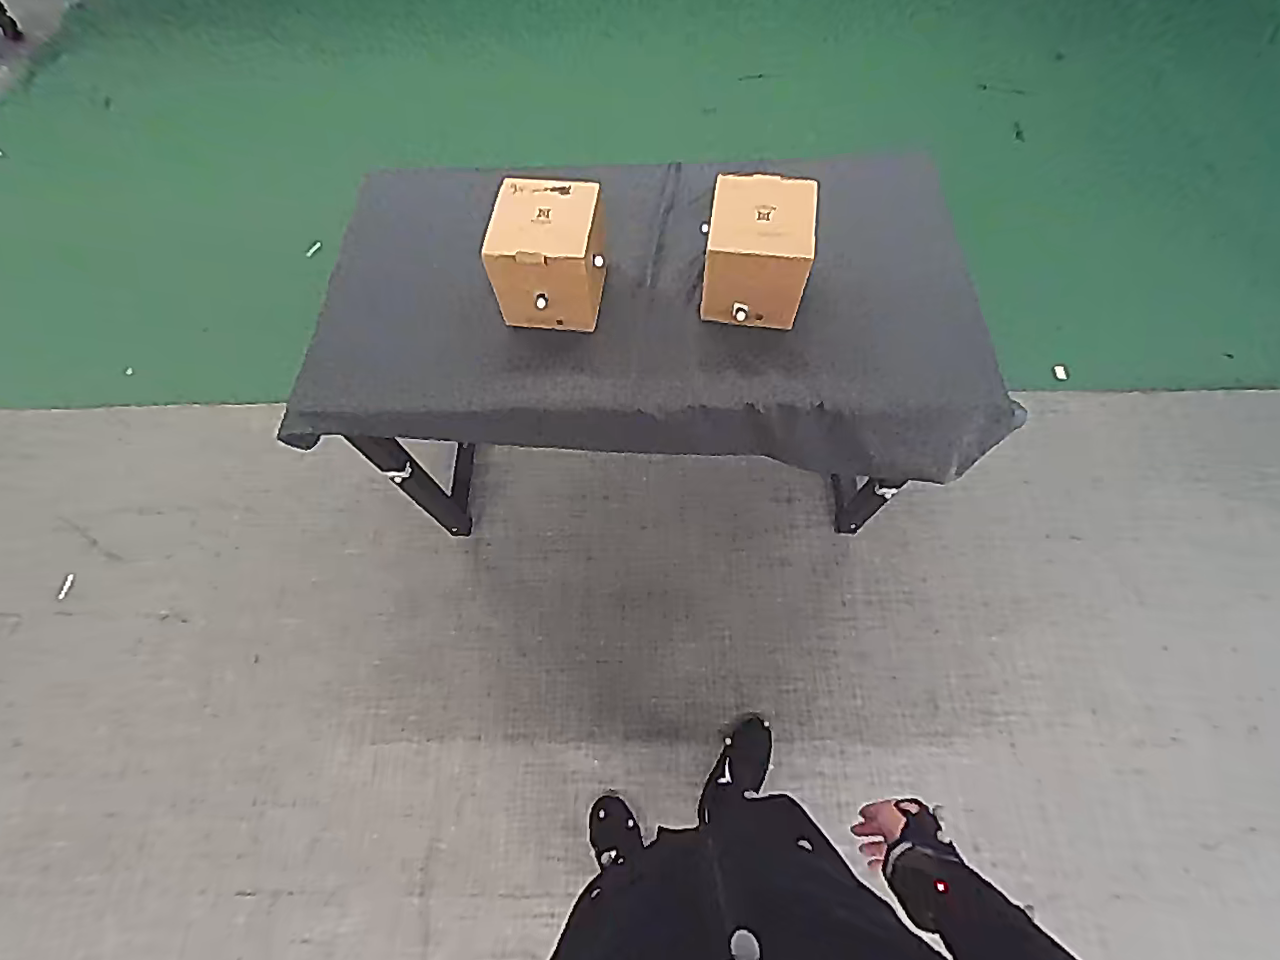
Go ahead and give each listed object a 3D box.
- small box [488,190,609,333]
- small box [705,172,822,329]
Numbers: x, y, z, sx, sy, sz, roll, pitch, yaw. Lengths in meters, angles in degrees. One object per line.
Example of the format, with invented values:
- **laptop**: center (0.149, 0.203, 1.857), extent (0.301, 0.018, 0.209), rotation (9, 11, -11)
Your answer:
- **small box**: center (-0.149, -0.377, 0.952), extent (0.168, 0.176, 0.179), rotation (2, 65, 4)
- **small box**: center (0.204, -0.388, 0.923), extent (0.168, 0.176, 0.179), rotation (8, 66, 8)
